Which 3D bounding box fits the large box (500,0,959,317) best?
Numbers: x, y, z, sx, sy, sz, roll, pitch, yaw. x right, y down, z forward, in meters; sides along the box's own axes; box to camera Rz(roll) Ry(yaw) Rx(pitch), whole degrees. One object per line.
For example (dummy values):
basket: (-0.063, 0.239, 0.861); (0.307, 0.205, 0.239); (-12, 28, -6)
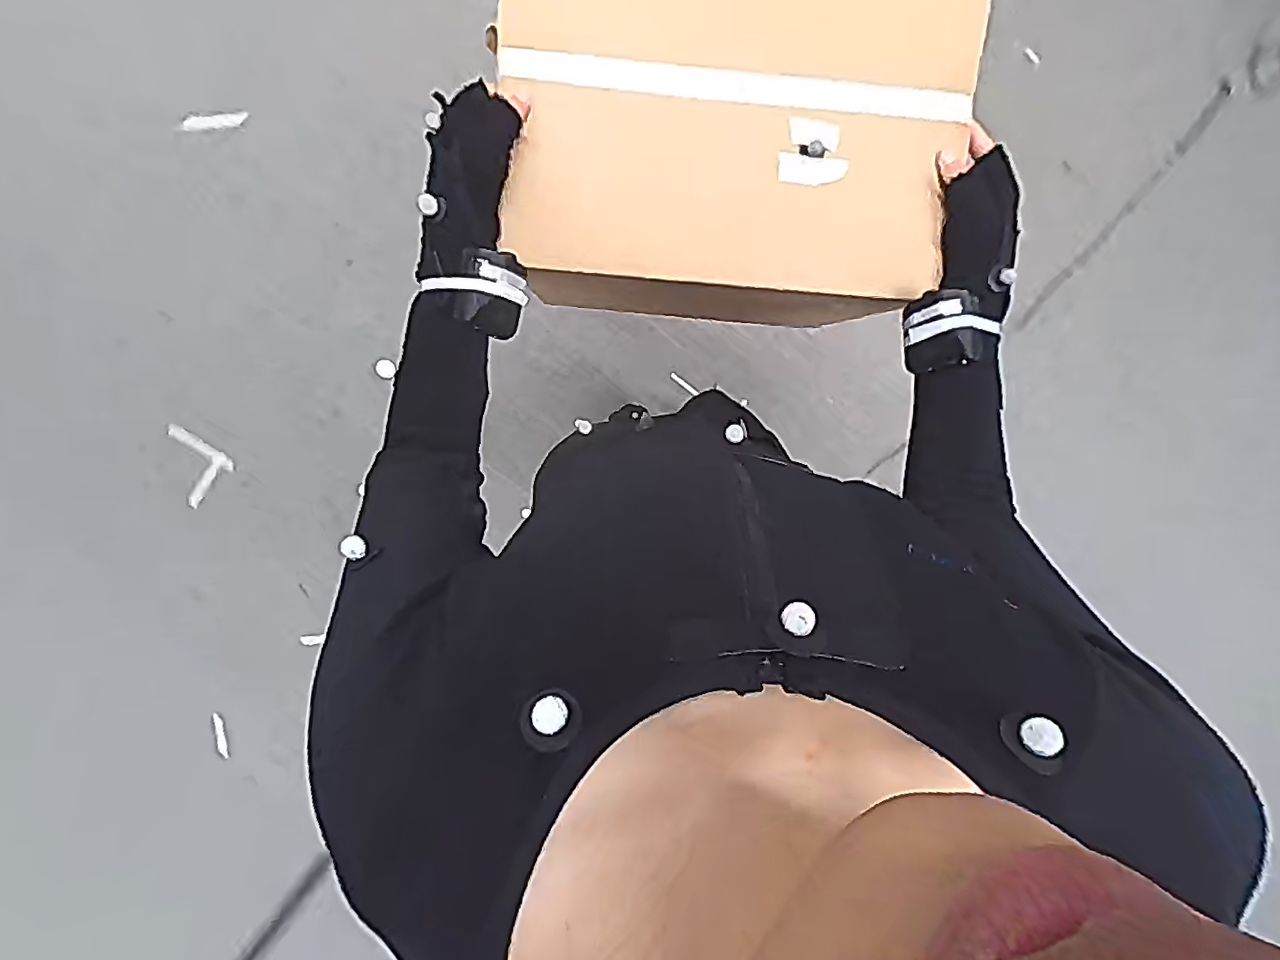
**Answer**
large box: (0.067, -0.369, 0.623); (0.408, 0.320, 0.320); (2, 102, -4)
